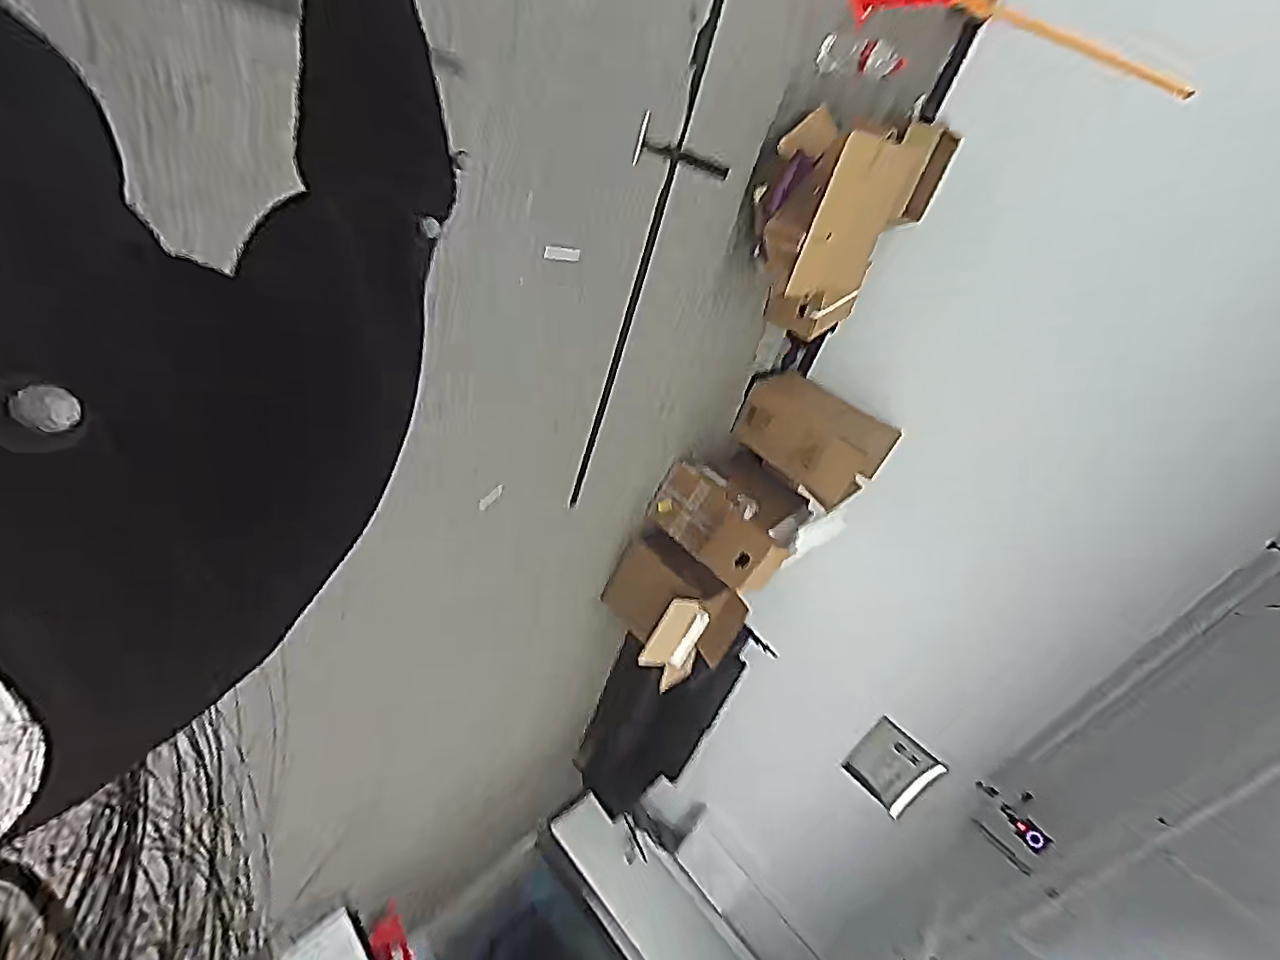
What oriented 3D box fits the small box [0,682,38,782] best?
[{"bbox_3d":[-1.614,0.632,1.312,0.179,0.176,0.168,-14,135,-51],"label":"small box"}]
